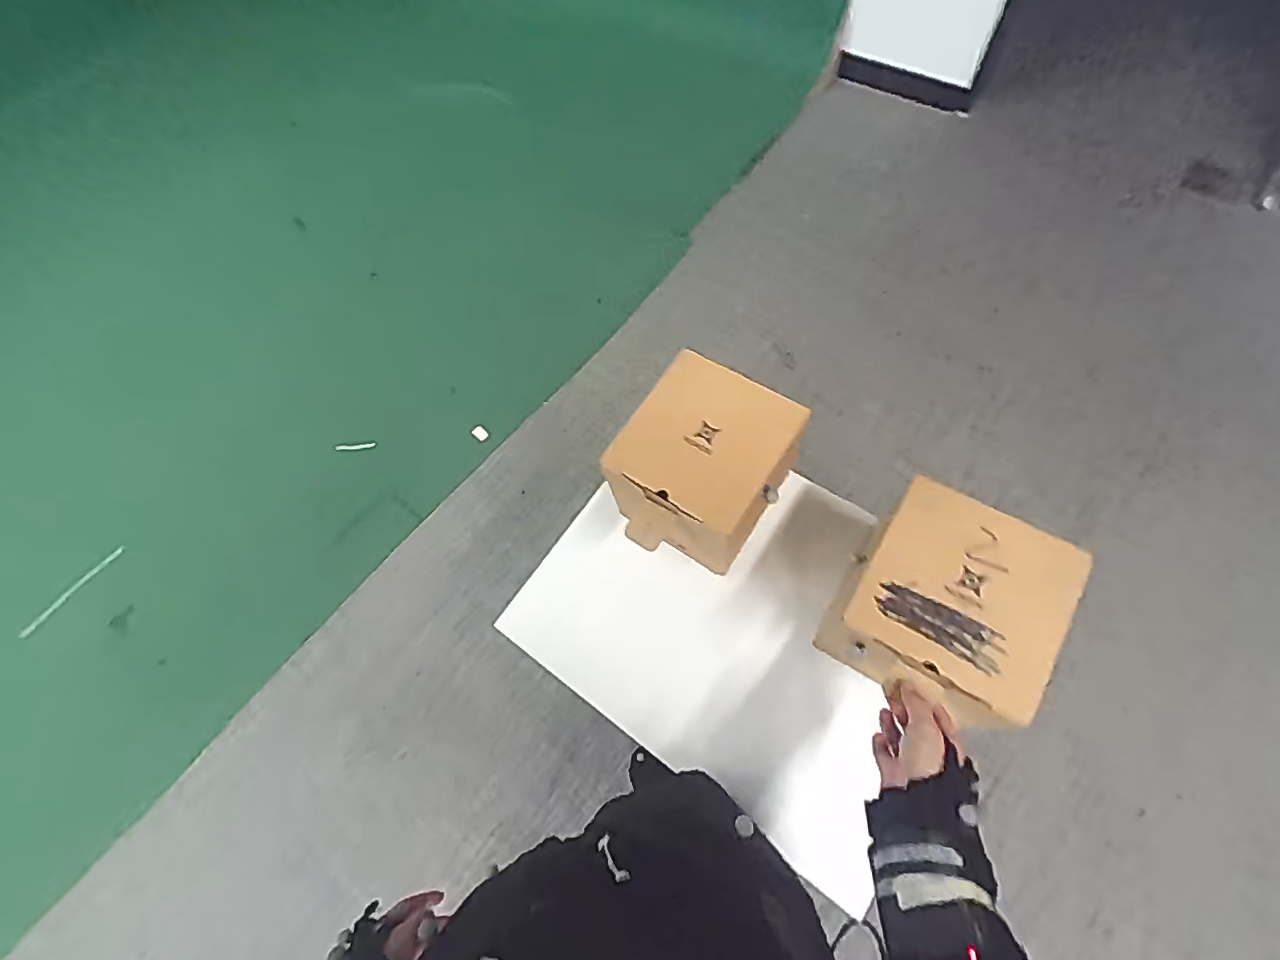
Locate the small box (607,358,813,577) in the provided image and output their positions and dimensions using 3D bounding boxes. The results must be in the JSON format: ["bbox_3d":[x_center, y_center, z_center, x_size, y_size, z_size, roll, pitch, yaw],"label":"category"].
[{"bbox_3d":[0.083,-0.008,0.663,0.168,0.176,0.179,31,74,18],"label":"small box"}]
